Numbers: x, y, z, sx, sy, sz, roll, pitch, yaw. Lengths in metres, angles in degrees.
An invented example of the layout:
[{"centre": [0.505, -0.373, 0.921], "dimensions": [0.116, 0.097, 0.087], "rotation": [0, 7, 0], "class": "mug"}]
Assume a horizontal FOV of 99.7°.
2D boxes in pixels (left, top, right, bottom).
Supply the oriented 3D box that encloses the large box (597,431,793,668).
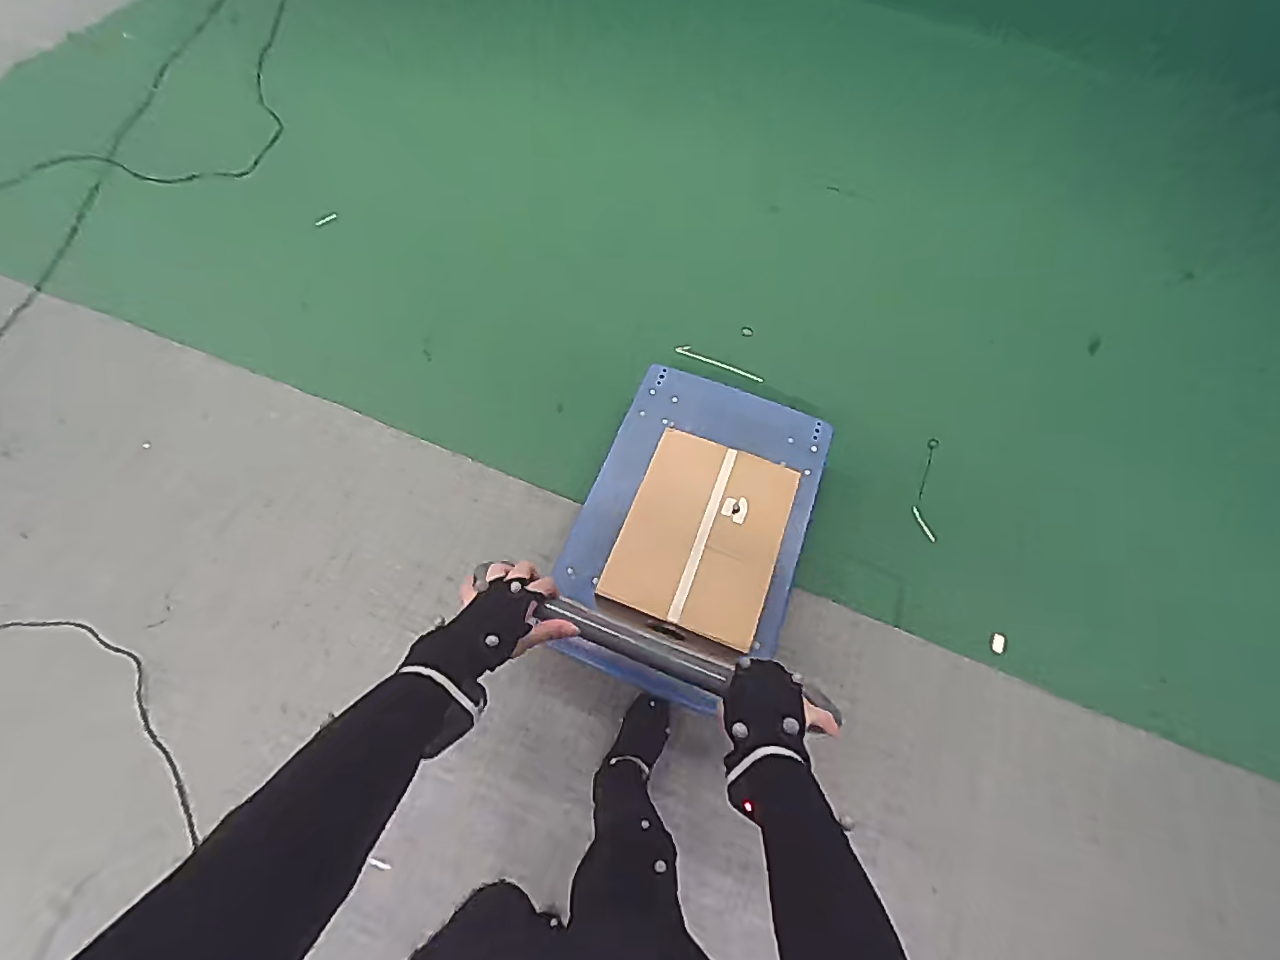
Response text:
[{"centre": [0.119, 0.170, 1.246], "dimensions": [0.320, 0.320, 0.408], "rotation": [21, 65, 6], "class": "large box"}]
